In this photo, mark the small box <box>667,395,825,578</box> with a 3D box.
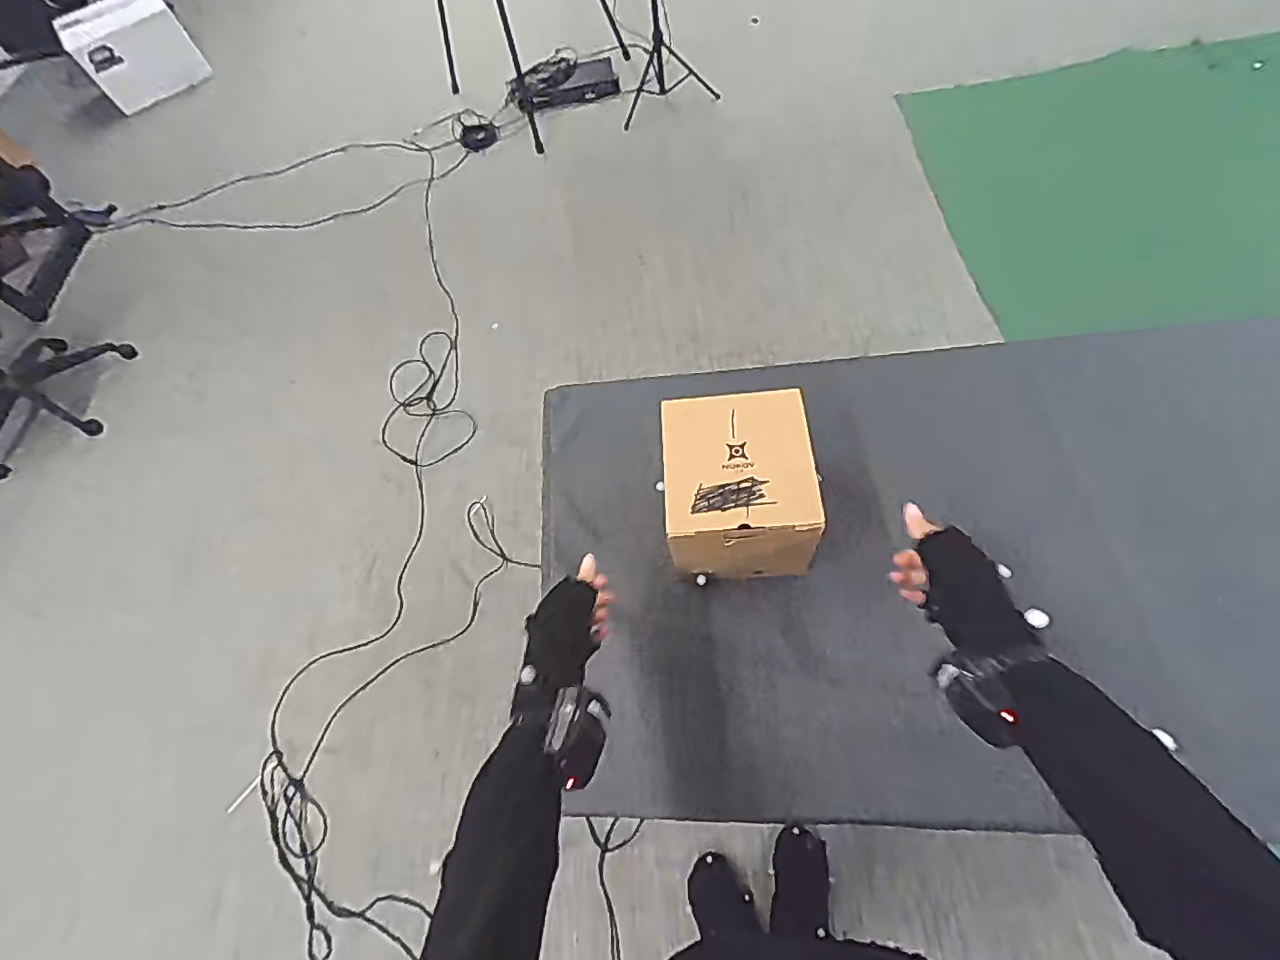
[{"bbox_3d":[0.125,0.019,0.677,0.168,0.176,0.179,-4,61,7],"label":"small box"}]
